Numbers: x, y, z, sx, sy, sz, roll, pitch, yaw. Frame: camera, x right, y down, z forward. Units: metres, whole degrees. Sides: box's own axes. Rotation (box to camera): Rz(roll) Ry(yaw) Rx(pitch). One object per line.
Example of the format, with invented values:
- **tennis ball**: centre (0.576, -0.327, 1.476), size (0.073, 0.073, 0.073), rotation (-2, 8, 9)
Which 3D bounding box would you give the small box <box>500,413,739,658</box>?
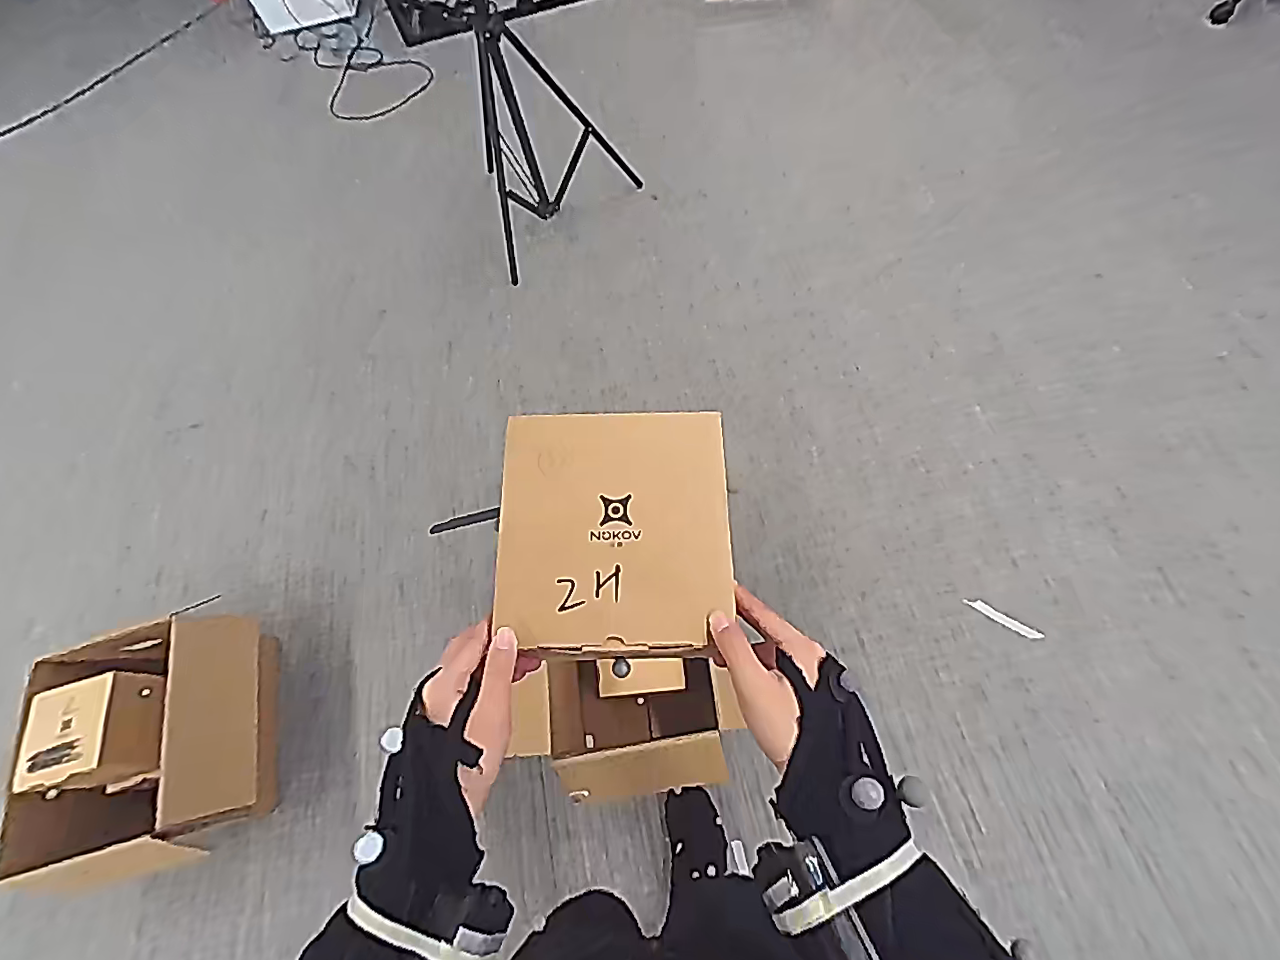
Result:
- **small box**: centre (-0.015, 0.057, 0.469), size (0.168, 0.176, 0.179), rotation (-2, 70, 0)
